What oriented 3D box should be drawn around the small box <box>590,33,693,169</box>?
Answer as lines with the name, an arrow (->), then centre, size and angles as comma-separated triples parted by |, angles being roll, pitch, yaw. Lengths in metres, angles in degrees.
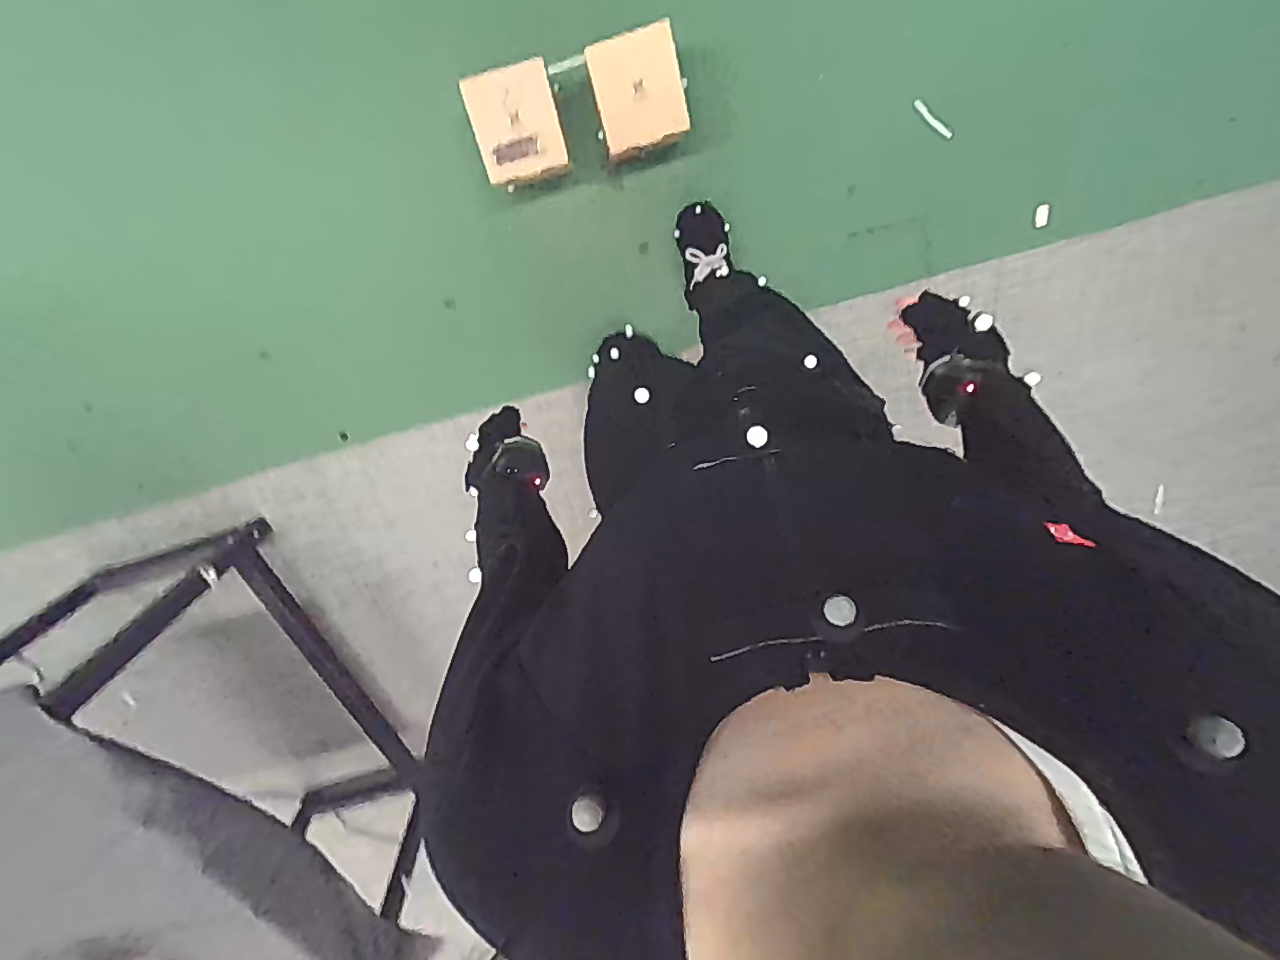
small box -> 0.000, -0.761, 1.107 | 0.168, 0.176, 0.179 | -16, 116, 4
